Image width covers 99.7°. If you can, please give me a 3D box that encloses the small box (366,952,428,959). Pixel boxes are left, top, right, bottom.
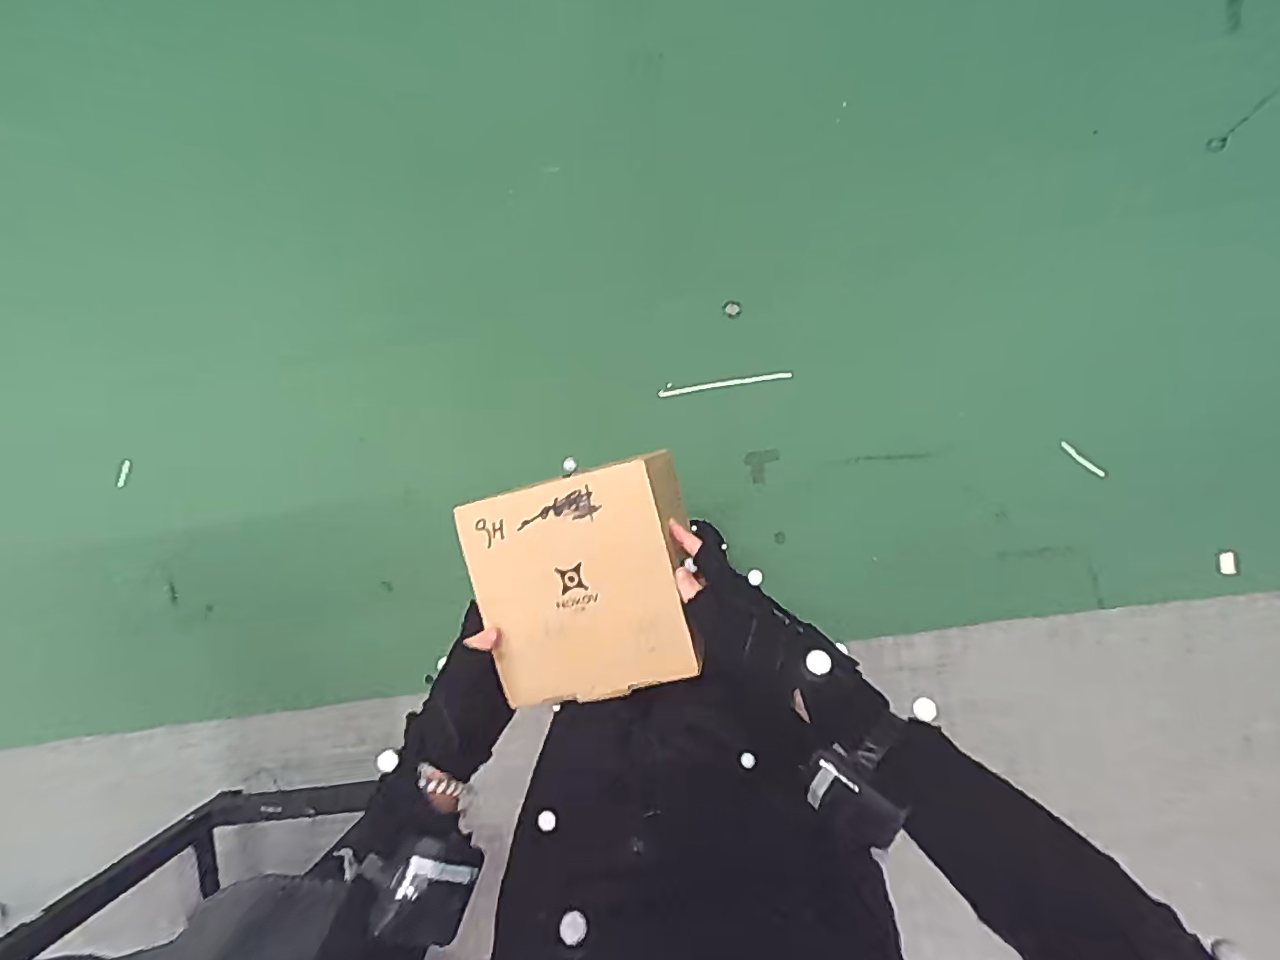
[{"bbox_3d":[-0.612,1.282,1.297,0.168,0.176,0.179,-11,91,6],"label":"small box"}]
